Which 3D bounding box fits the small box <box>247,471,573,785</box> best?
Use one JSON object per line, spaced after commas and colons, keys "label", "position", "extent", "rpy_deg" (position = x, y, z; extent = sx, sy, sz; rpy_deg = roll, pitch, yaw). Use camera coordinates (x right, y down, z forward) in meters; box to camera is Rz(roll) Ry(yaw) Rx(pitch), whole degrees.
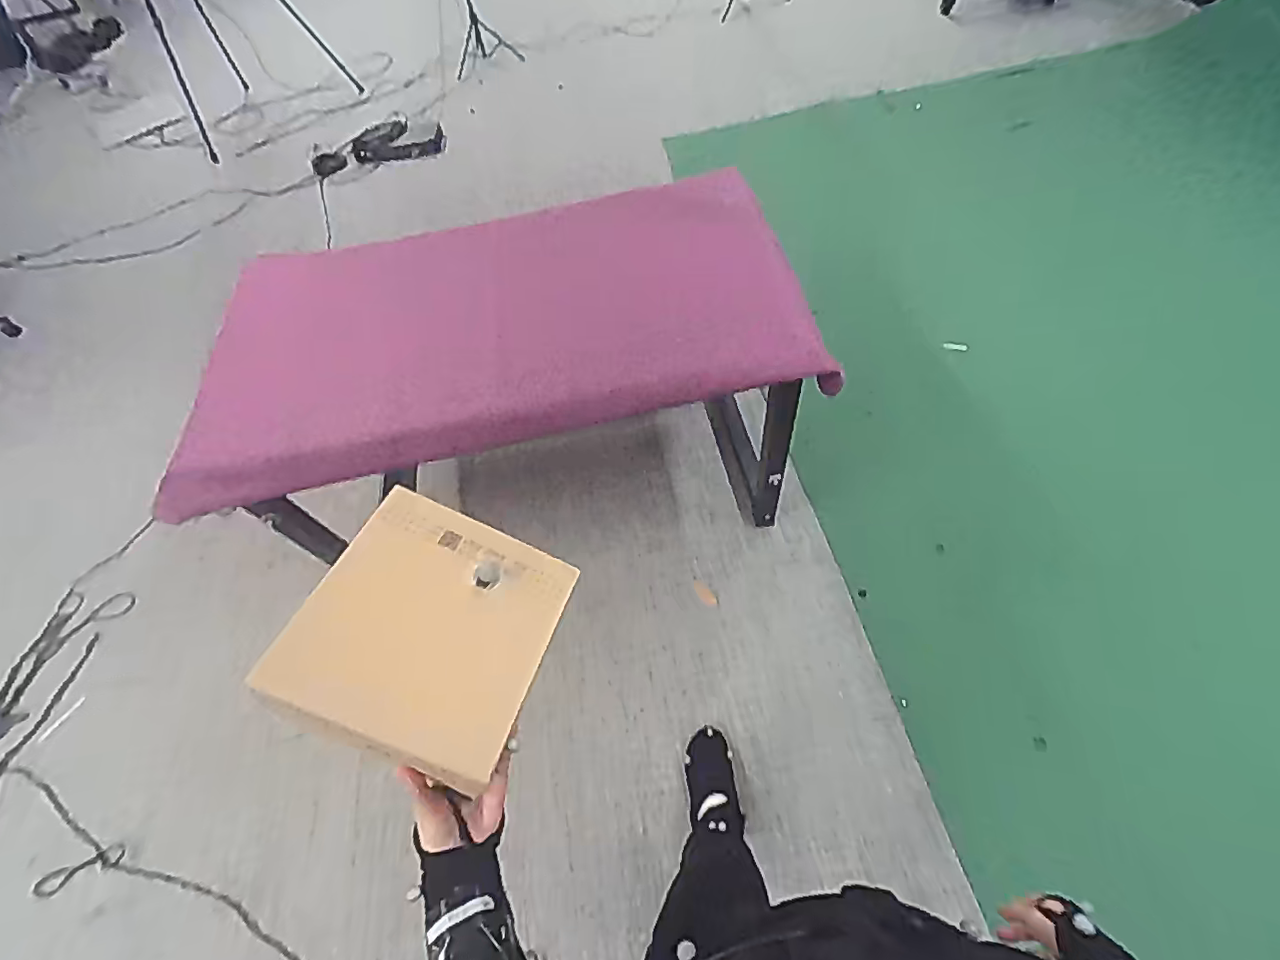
{"label": "small box", "position": [-0.172, 0.126, 0.453], "extent": [0.168, 0.179, 0.176], "rpy_deg": [26, 51, -4]}
